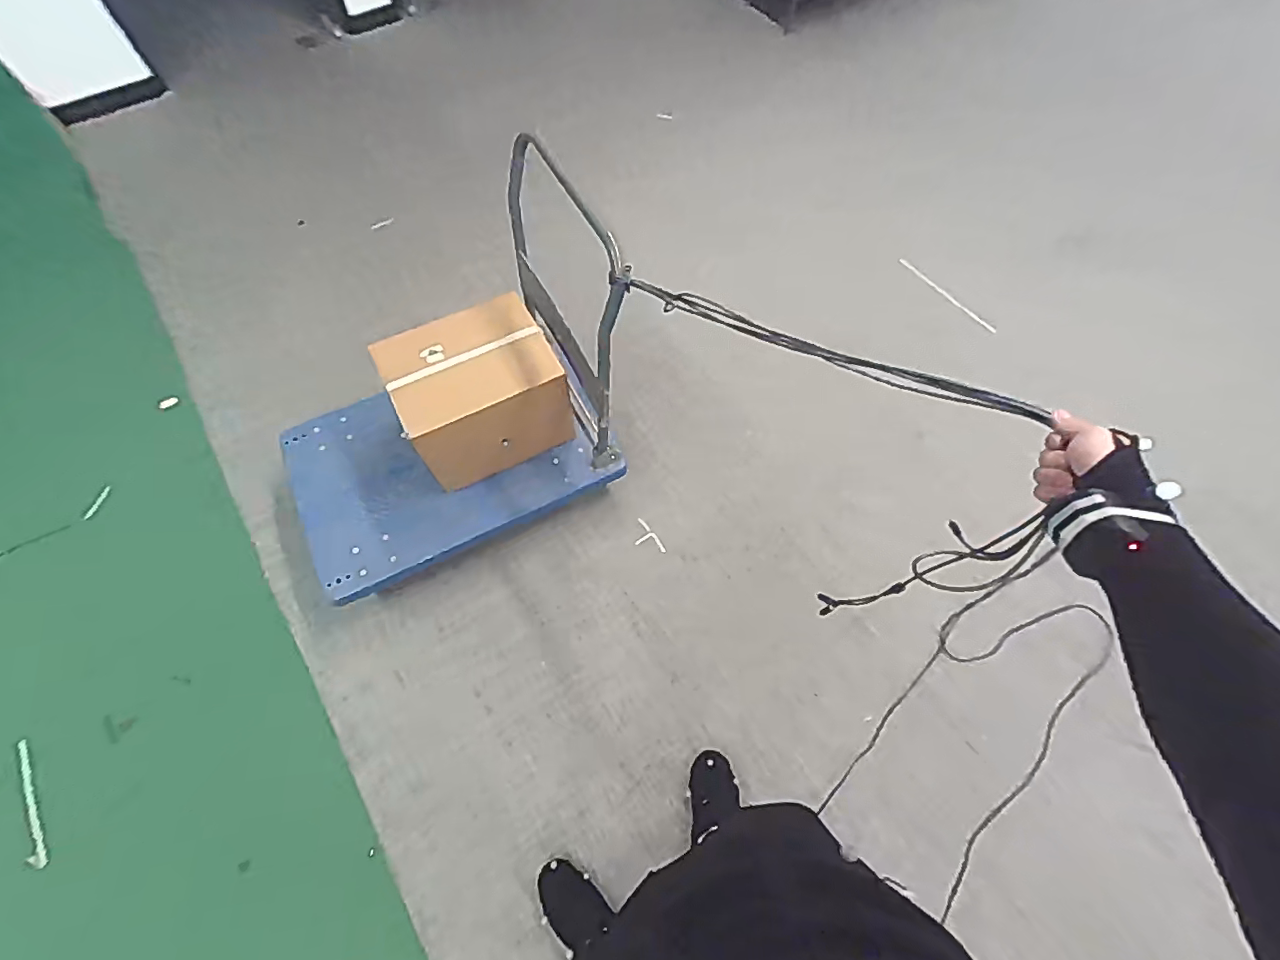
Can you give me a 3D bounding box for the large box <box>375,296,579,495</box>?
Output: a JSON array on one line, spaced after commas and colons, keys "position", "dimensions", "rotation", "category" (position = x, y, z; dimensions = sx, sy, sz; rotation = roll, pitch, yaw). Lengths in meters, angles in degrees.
[{"position": [-0.420, -0.222, 1.474], "dimensions": [0.408, 0.320, 0.320], "rotation": [-27, 66, -13], "category": "large box"}]
